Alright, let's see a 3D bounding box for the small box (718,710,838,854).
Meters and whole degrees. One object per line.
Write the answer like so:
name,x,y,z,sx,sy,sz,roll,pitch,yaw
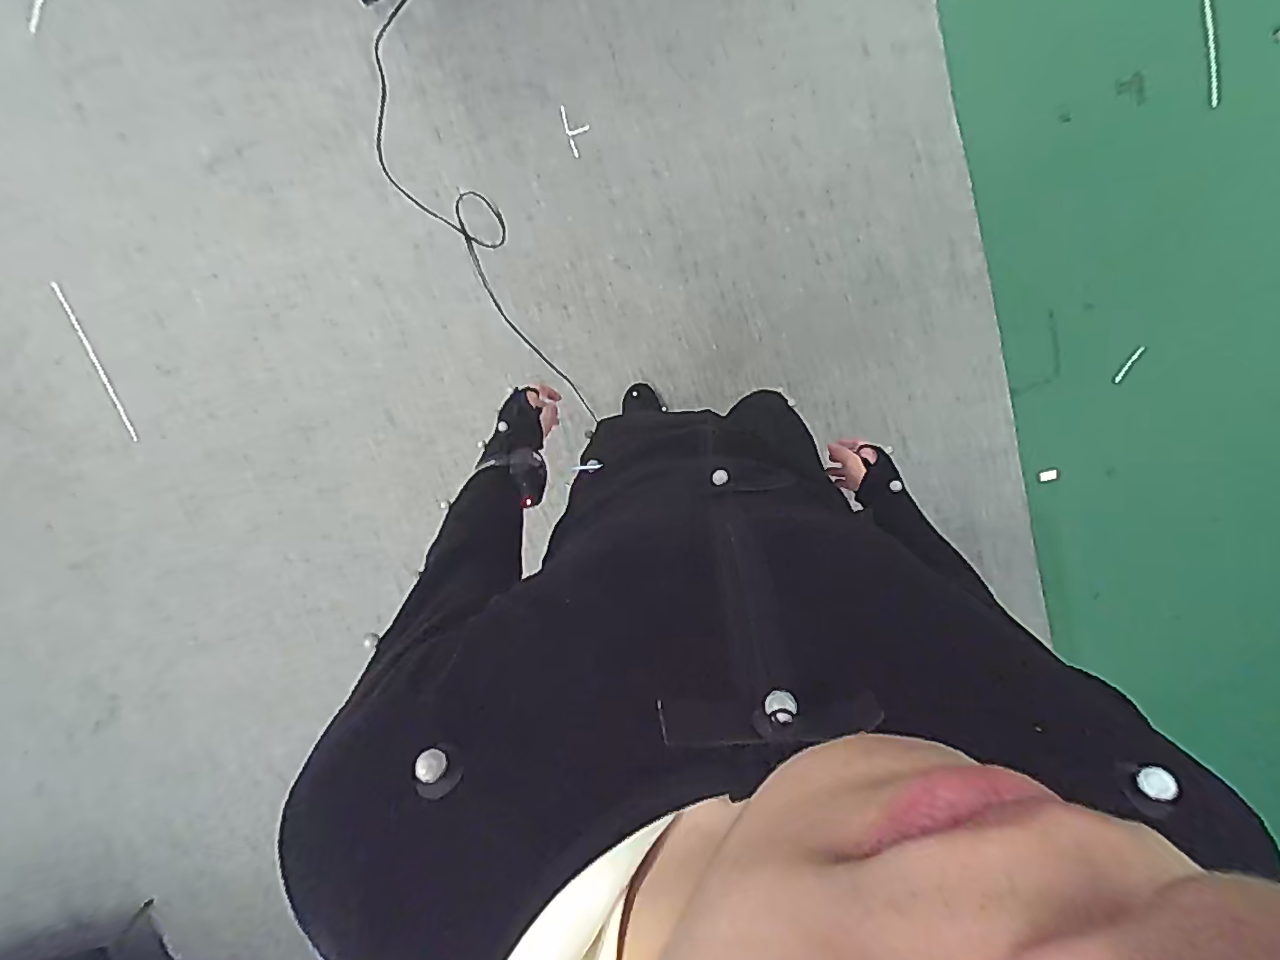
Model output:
small box,0.264,0.583,1.065,0.179,0.176,0.168,-15,99,4
